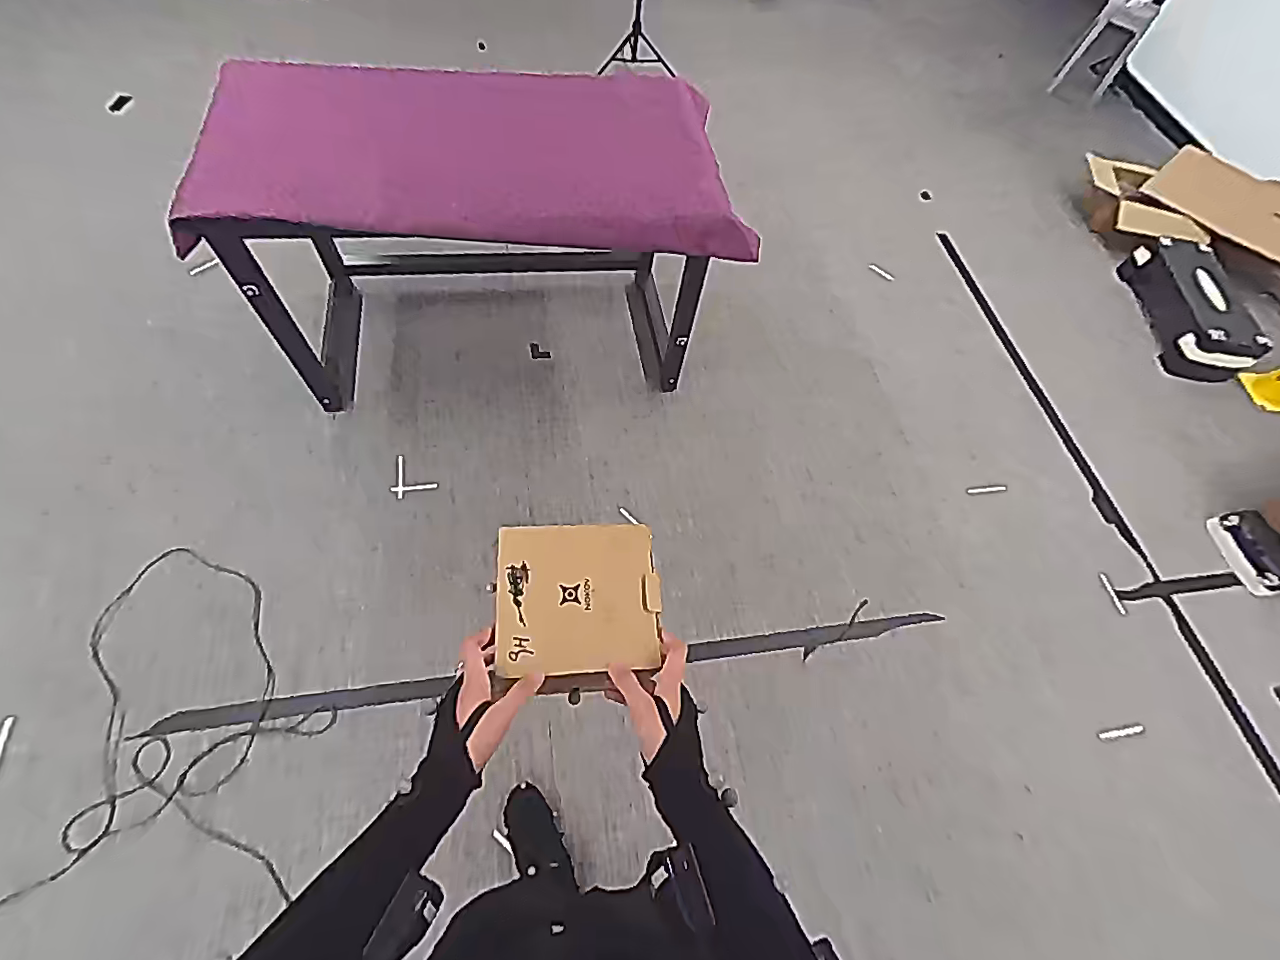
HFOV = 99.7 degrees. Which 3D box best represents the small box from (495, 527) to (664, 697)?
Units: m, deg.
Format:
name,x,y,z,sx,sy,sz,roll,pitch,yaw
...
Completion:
name,x,y,z,sx,sy,sz,roll,pitch,yaw
small box,-0.079,0.165,0.657,0.179,0.176,0.168,1,62,-11
